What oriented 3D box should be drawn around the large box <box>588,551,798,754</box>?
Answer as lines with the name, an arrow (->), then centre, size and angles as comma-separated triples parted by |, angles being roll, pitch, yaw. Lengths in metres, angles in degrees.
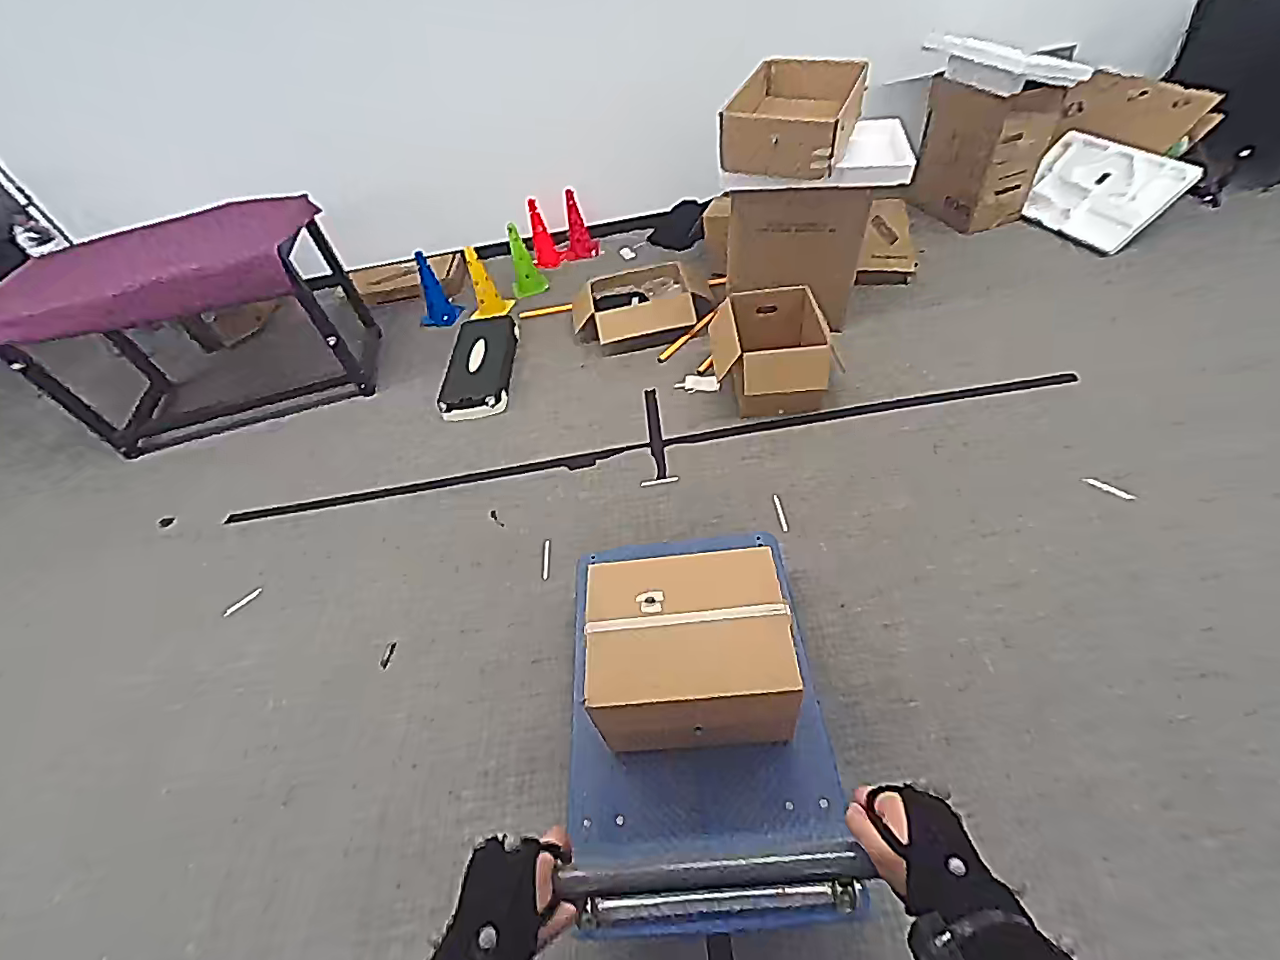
large box -> 0.112, 0.395, 1.217 | 0.408, 0.320, 0.320 | -8, 47, 5
